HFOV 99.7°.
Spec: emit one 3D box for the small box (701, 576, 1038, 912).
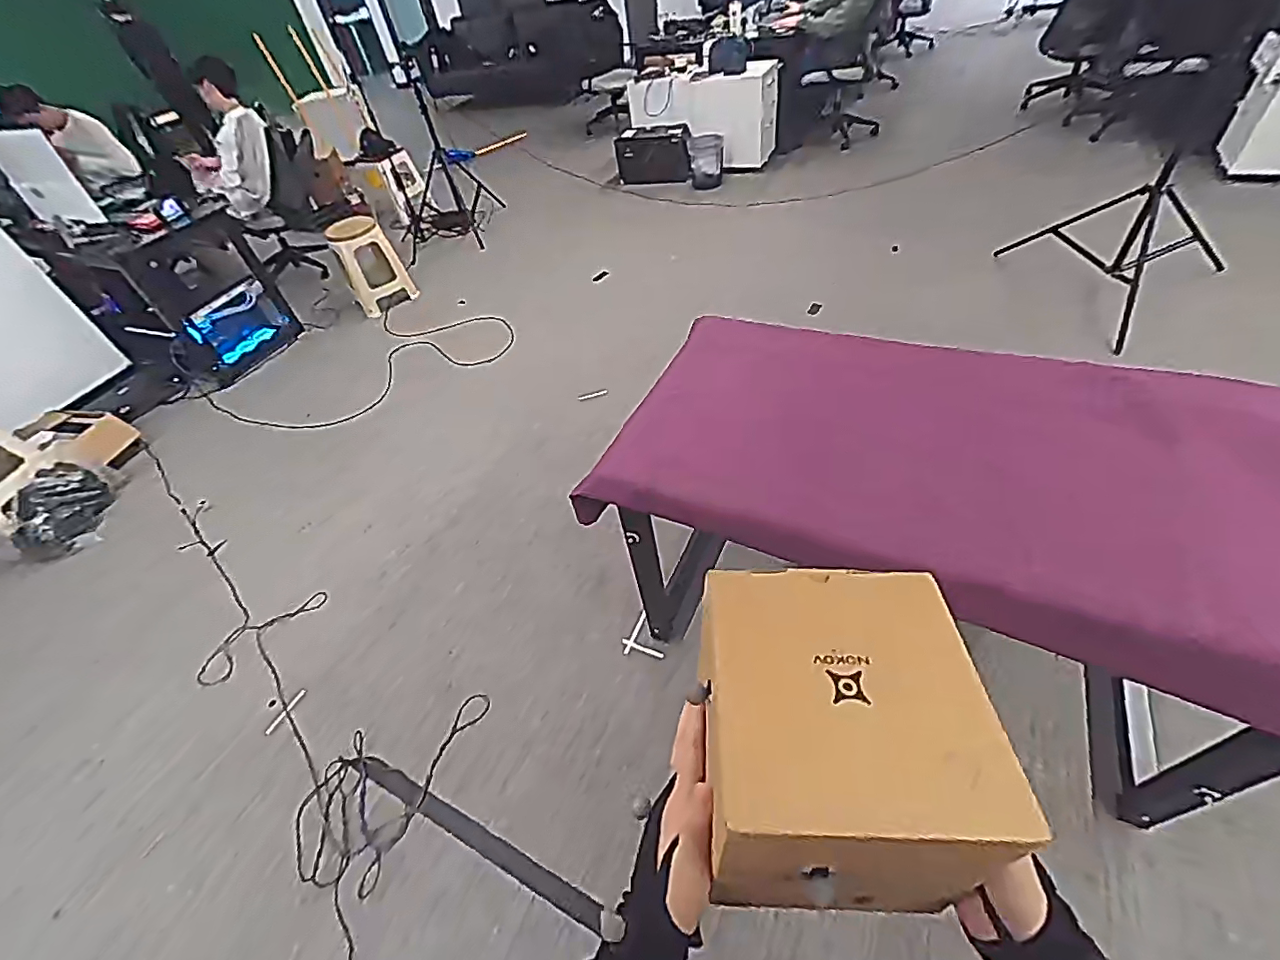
[{"bbox_3d":[0.133,0.191,0.397,0.168,0.176,0.179,0,40,2],"label":"small box"}]
